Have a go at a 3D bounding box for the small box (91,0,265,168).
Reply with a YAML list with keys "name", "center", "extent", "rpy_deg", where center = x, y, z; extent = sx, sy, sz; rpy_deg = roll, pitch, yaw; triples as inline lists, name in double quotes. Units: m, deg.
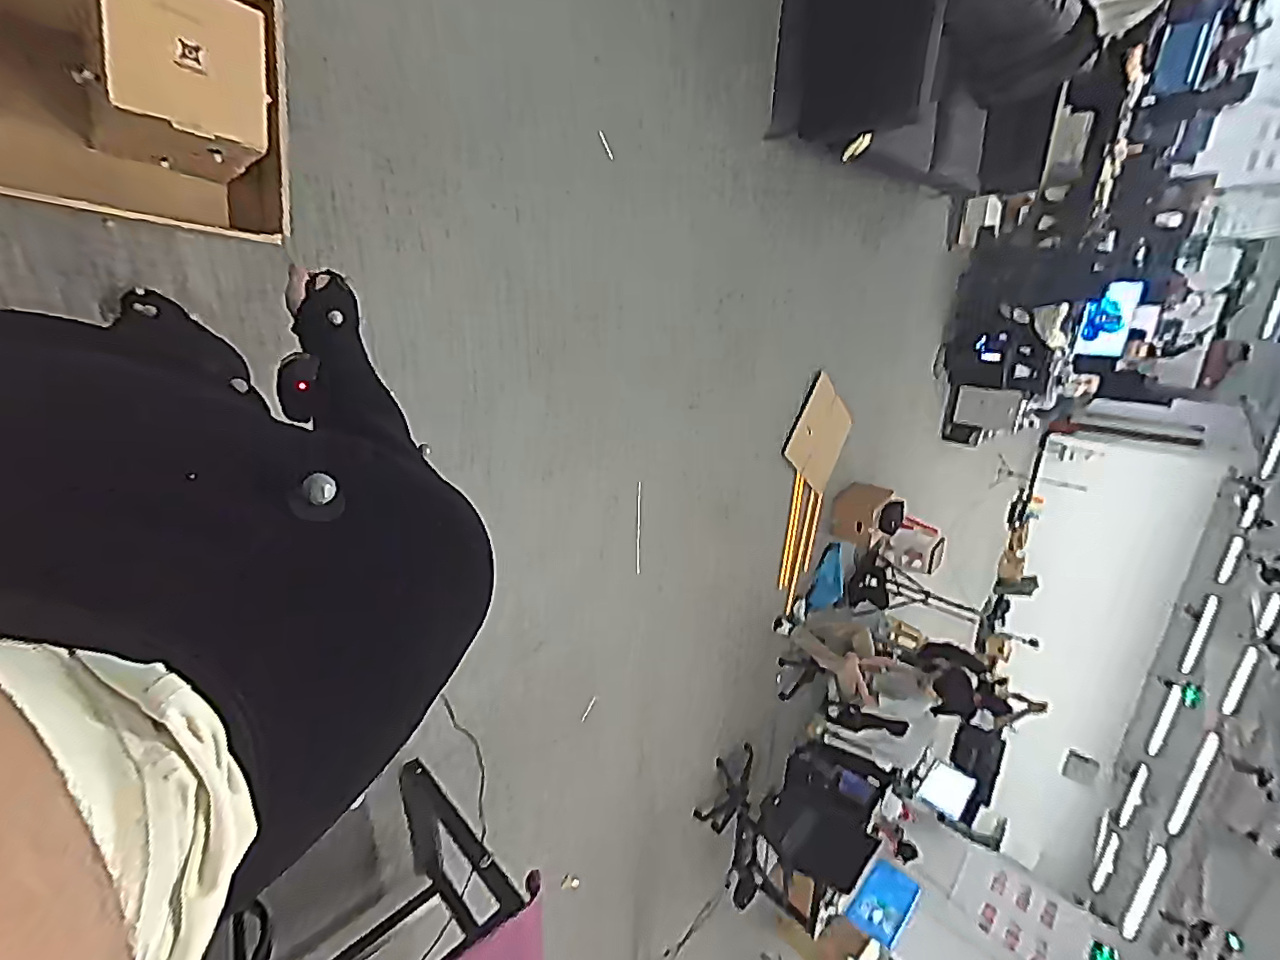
- name: "small box"
  center: [-0.634, -0.558, 0.745]
  extent: [0.168, 0.176, 0.179]
  rpy_deg: [-5, 106, -47]
